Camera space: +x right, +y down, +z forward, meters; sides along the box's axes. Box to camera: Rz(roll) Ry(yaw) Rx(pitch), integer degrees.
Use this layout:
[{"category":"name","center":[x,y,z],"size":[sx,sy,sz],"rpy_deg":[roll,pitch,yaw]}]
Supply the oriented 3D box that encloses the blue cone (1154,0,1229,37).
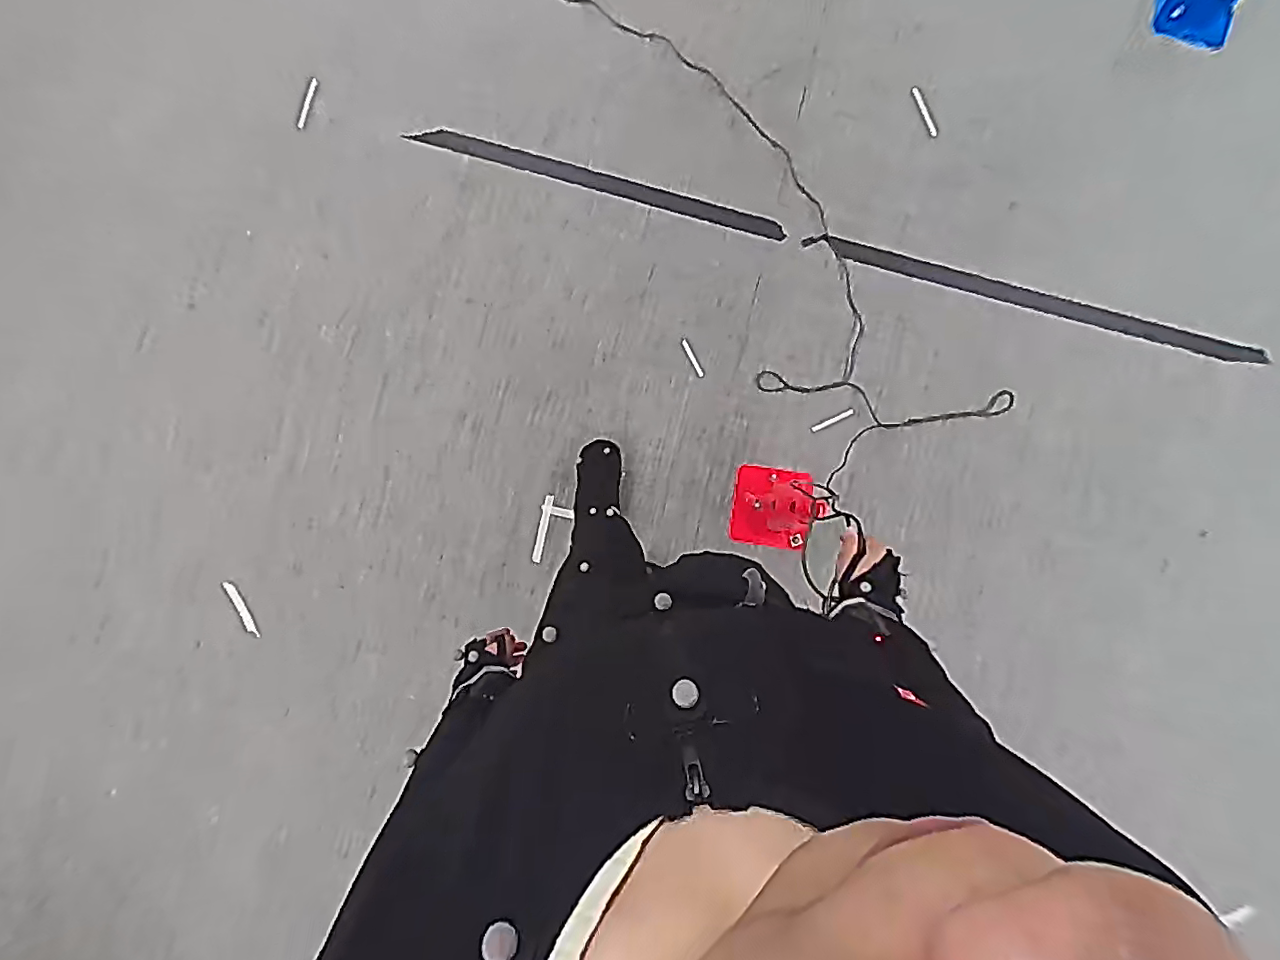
[{"category":"blue cone","center":[1.466,-1.286,1.270],"size":[0.193,0.380,0.192],"rpy_deg":[15,86,0]}]

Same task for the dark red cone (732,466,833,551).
[{"category":"dark red cone","center":[0.334,0.059,1.173],"size":[0.202,0.394,0.201],"rpy_deg":[7,86,0]}]
